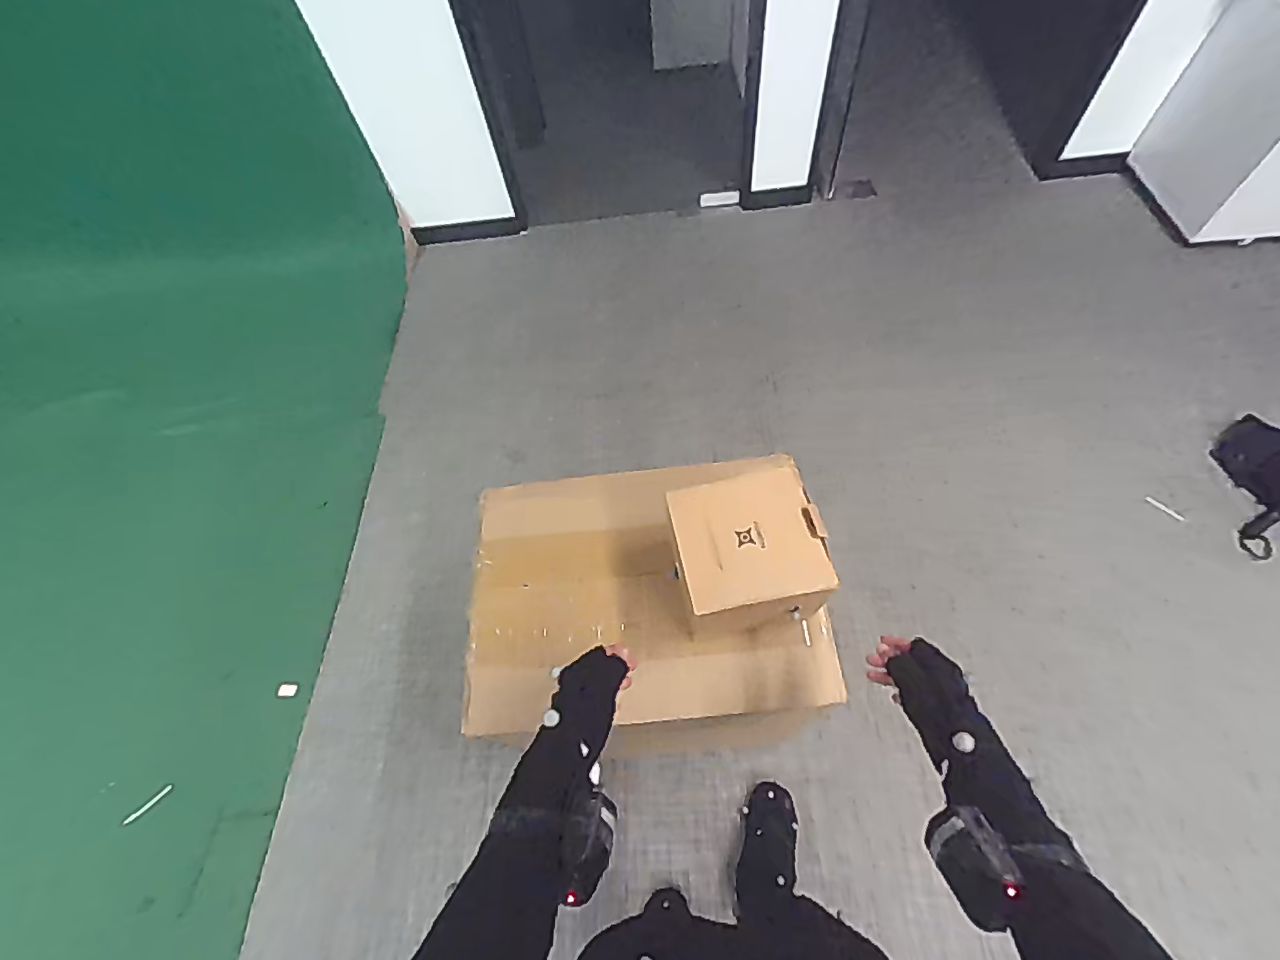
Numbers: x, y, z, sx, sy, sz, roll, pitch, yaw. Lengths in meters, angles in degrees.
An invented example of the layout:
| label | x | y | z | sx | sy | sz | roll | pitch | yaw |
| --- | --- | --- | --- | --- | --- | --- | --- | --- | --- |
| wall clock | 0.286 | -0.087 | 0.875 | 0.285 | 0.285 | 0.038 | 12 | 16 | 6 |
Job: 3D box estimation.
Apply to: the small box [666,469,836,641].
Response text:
| label | x | y | z | sx | sy | sz | roll | pitch | yaw |
| --- | --- | --- | --- | --- | --- | --- | --- | --- | --- |
| small box | 0.140 | 0.109 | 0.740 | 0.179 | 0.176 | 0.168 | -13 | 62 | 1 |
